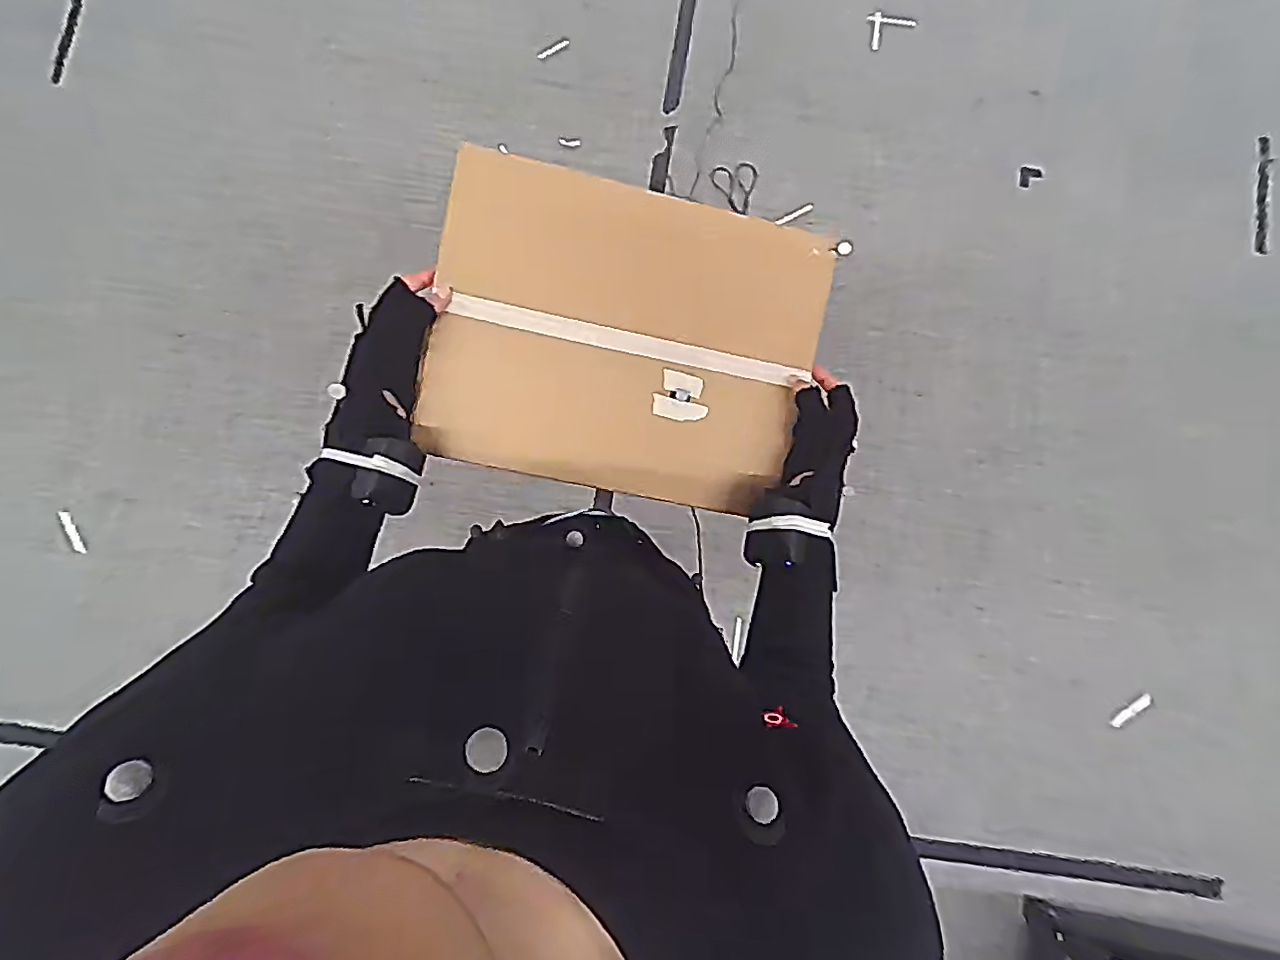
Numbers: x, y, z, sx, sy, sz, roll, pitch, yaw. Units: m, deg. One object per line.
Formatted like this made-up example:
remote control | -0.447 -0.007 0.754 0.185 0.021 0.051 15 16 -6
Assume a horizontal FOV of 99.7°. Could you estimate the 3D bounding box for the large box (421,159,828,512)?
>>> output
large box | -0.028 -0.157 0.732 0.408 0.320 0.320 12 93 -7
